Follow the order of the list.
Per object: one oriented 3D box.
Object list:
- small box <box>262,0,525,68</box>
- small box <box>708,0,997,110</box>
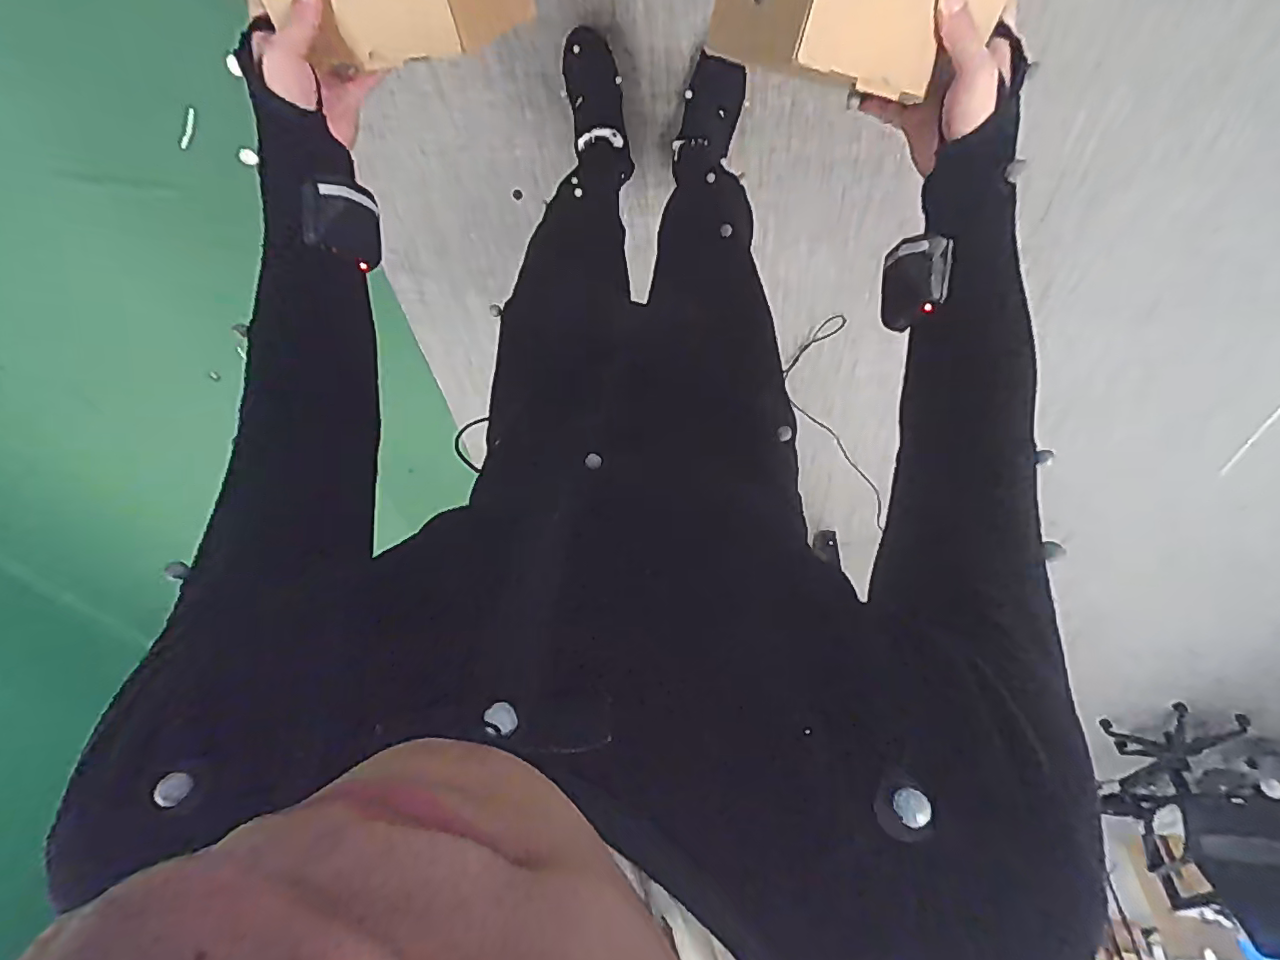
[{"bbox_3d":[-0.214,-0.470,0.441,0.168,0.176,0.179,5,141,13],"label":"small box"},{"bbox_3d":[0.172,-0.423,0.426,0.168,0.176,0.179,-1,128,-23],"label":"small box"}]
